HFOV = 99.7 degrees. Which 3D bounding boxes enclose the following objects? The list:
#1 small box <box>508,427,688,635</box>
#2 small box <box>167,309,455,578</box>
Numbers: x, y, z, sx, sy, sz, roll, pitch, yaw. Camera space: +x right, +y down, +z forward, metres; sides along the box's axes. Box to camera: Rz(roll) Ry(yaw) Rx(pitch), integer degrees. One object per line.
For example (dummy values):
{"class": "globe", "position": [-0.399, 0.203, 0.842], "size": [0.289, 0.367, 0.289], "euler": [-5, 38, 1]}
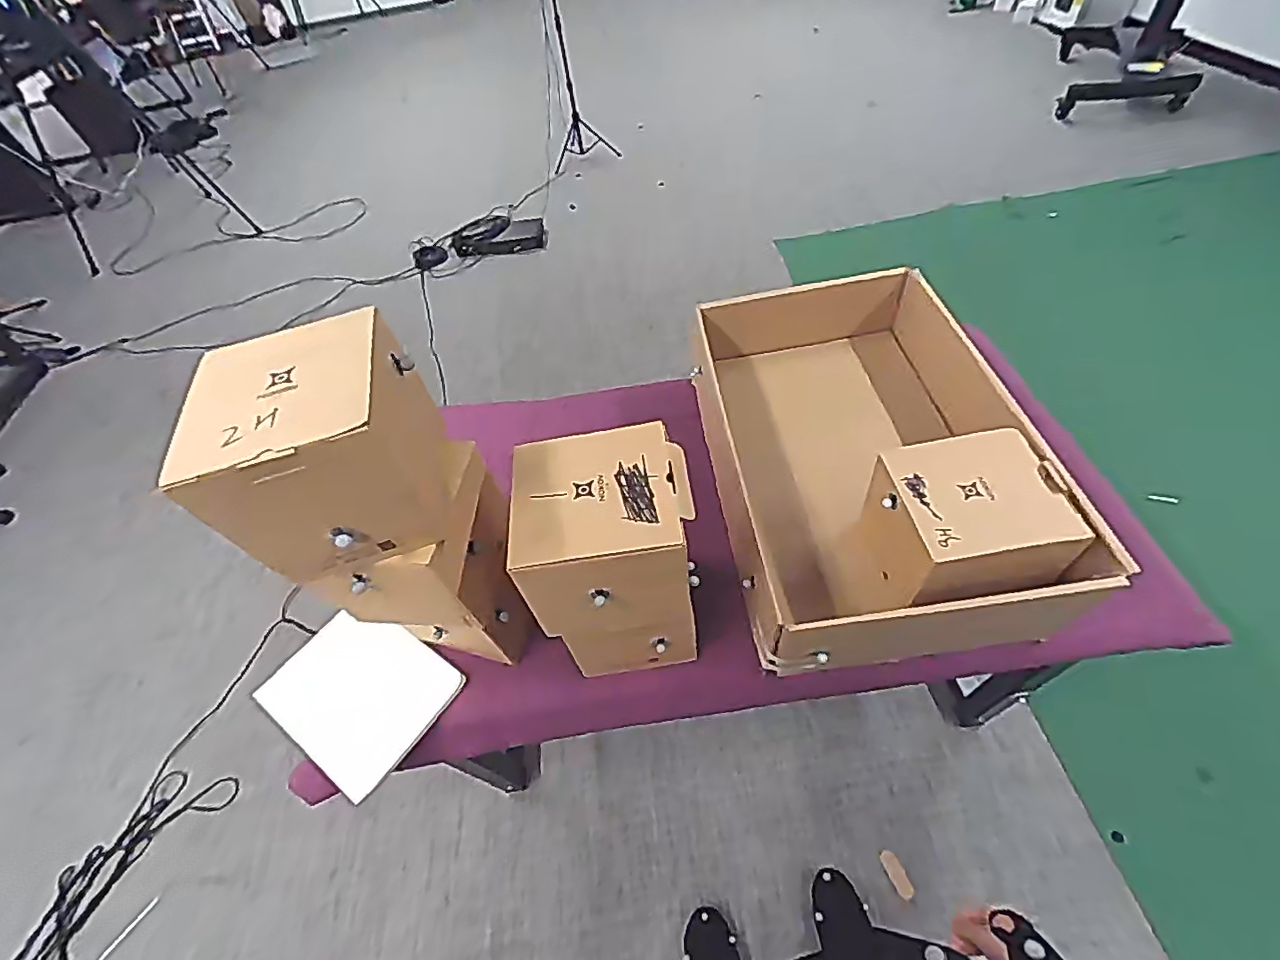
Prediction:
{"class": "small box", "position": [-0.039, 0.063, 0.627], "size": [0.179, 0.176, 0.168], "euler": [-8, 51, 2]}
{"class": "small box", "position": [-0.296, -0.033, 0.533], "size": [0.168, 0.176, 0.179], "euler": [-17, 52, -3]}
